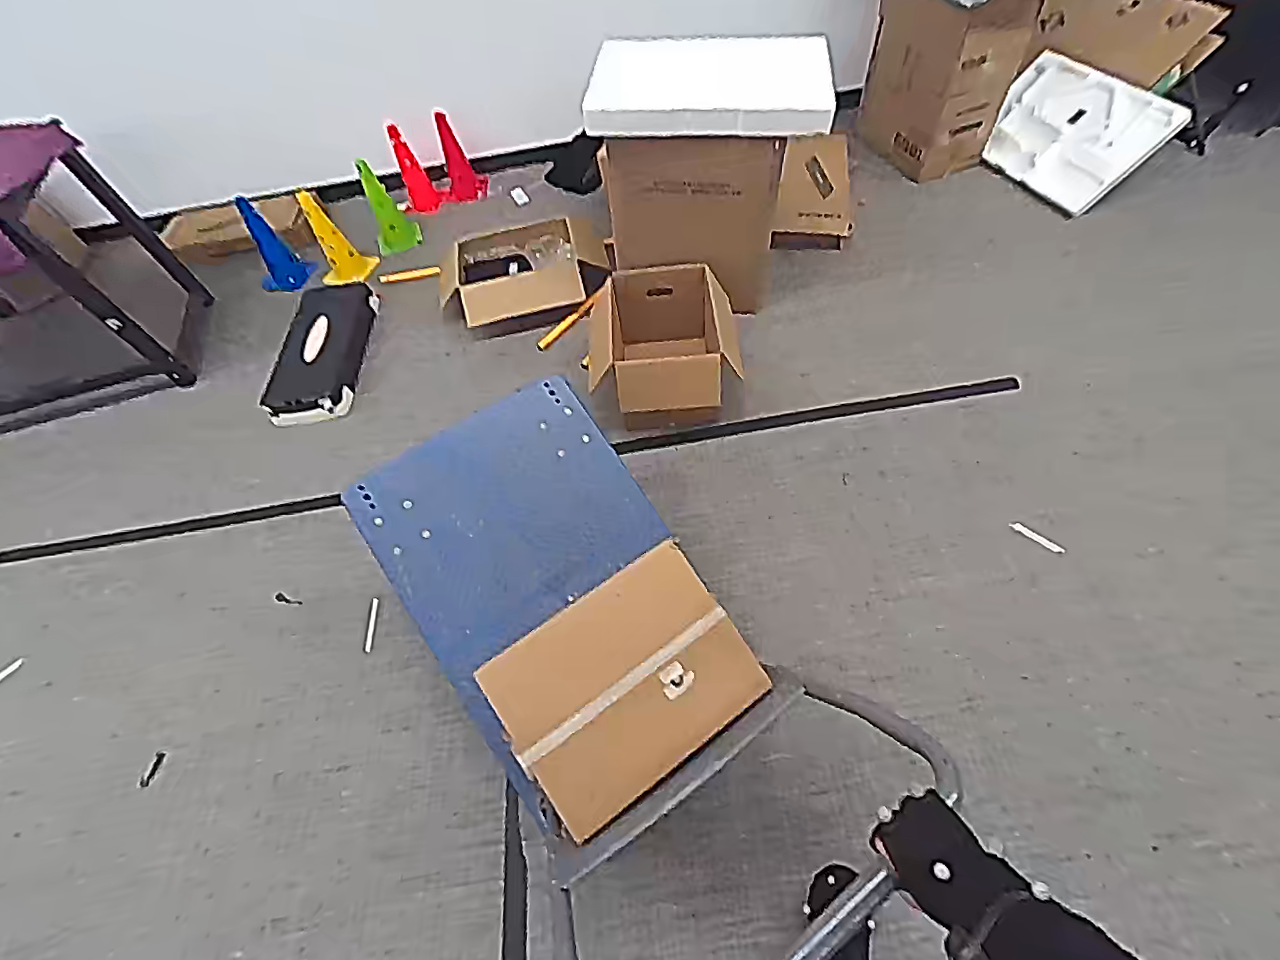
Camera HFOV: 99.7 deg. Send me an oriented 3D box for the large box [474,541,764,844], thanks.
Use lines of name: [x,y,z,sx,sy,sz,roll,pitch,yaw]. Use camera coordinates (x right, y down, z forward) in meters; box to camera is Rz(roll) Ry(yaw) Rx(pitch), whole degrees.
large box: [-0.049,0.374,1.043,0.408,0.320,0.320,-33,84,-16]
